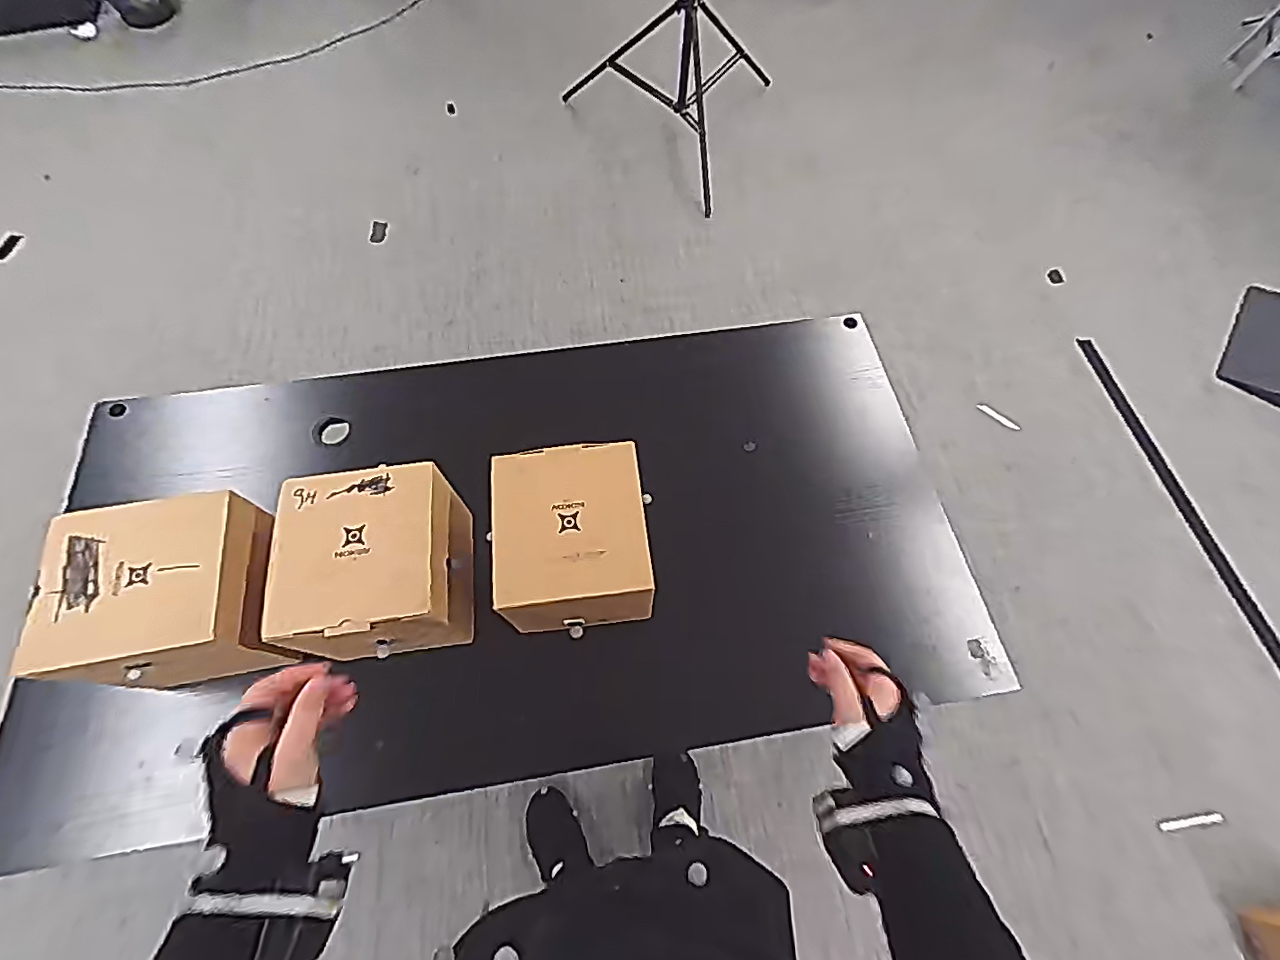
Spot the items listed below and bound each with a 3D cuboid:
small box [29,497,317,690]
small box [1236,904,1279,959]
[{"bbox_3d":[-0.512,0.138,0.626,0.179,0.176,0.168,-9,66,-7],"label":"small box"},{"bbox_3d":[1.378,0.976,1.071,0.168,0.176,0.179,-6,65,-4],"label":"small box"}]
